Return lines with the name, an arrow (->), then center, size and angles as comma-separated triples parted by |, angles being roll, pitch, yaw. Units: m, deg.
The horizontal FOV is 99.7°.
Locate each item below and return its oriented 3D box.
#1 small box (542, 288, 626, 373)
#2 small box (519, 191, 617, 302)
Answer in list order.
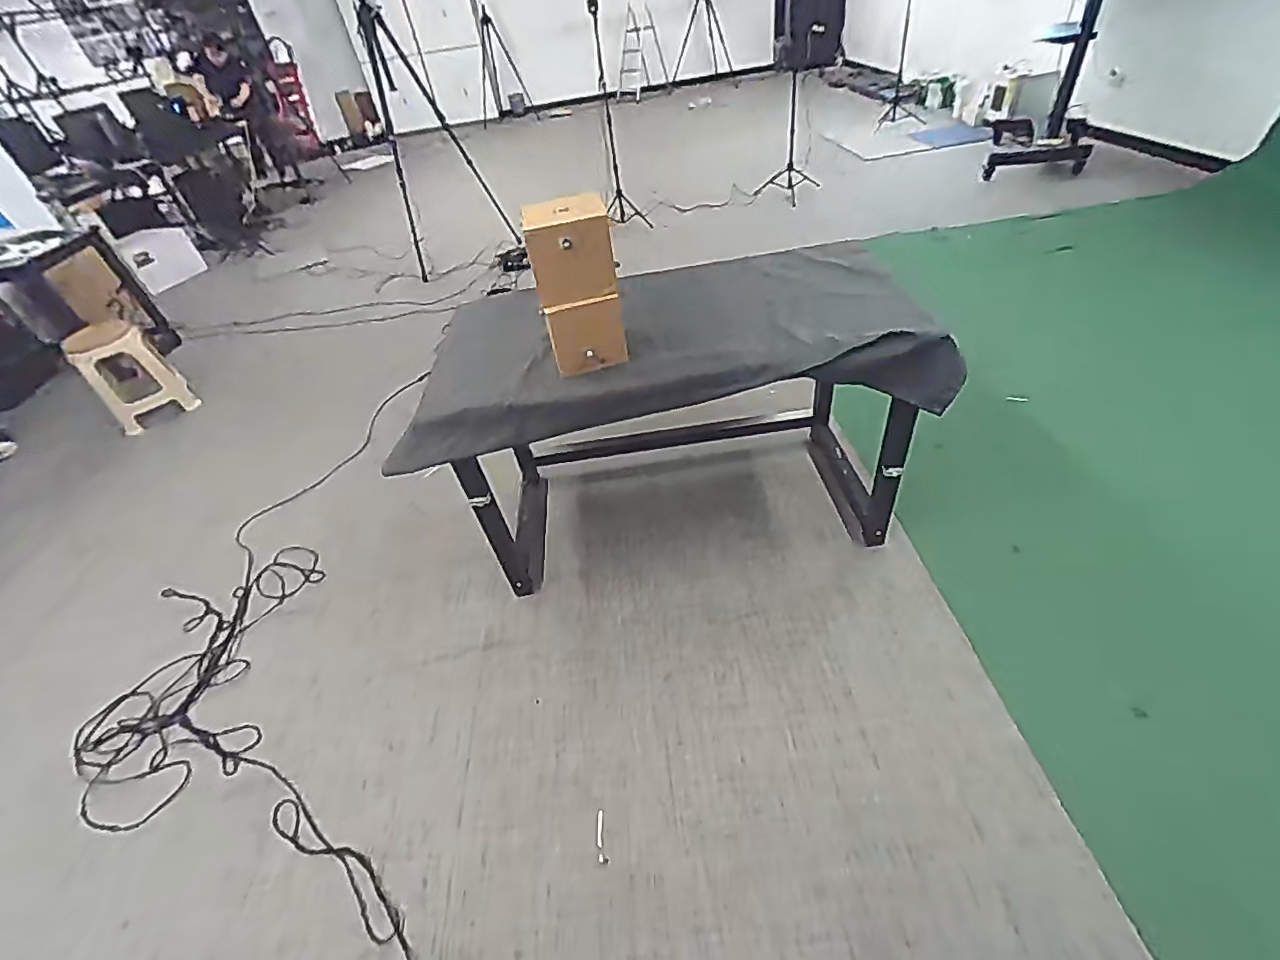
small box -> -0.139, -0.378, 1.281 | 0.168, 0.176, 0.179 | -15, 43, -6
small box -> -0.156, -0.507, 1.182 | 0.179, 0.176, 0.168 | -12, 44, -4
